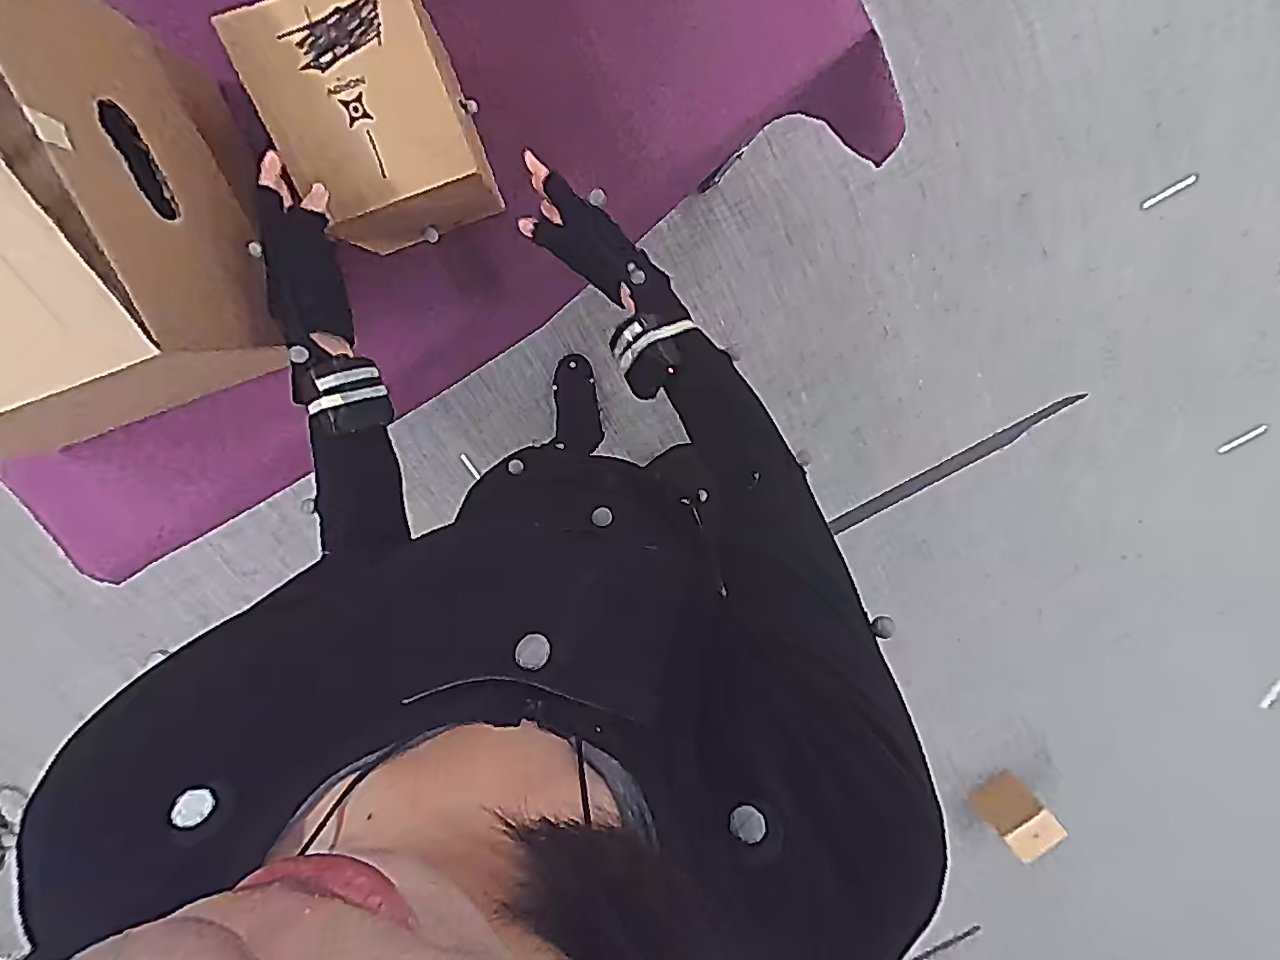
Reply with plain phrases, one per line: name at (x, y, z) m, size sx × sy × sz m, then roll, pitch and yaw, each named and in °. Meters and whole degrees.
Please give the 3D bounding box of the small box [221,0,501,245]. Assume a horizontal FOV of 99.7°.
small box at (-0.259, -0.365, 0.555) m, size 0.168 × 0.176 × 0.179 m, roll -19°, pitch 106°, yaw 1°

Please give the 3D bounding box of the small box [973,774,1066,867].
small box at (1.288, 1.161, 1.854) m, size 0.179 × 0.176 × 0.168 m, roll -41°, pitch 106°, yaw 5°
